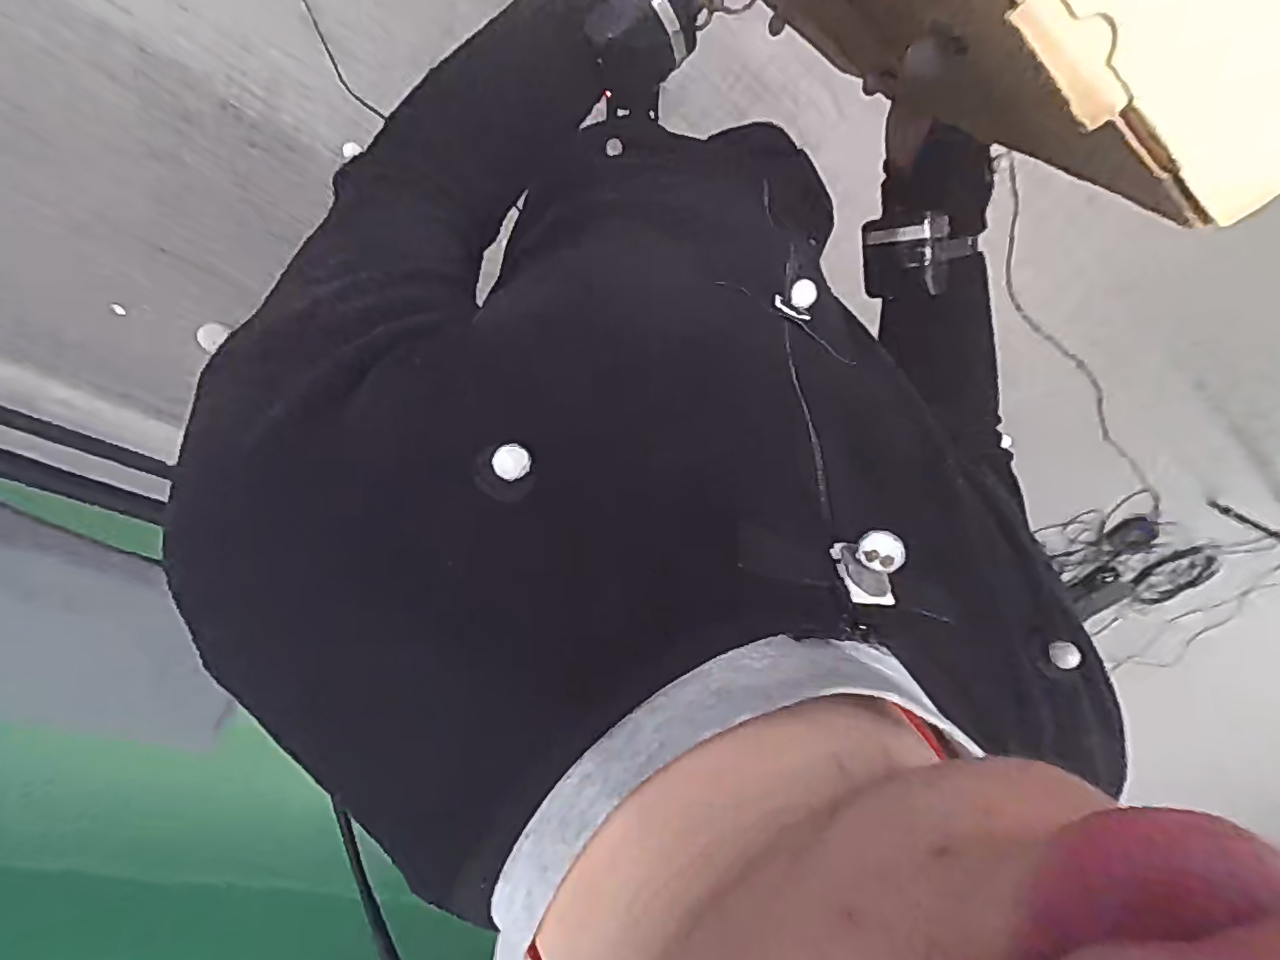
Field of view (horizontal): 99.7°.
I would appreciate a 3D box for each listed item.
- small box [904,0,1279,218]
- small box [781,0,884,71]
[{"bbox_3d":[0.169,-0.222,0.153,0.168,0.176,0.179,27,129,-22],"label":"small box"},{"bbox_3d":[0.176,-0.444,0.391,0.168,0.176,0.179,25,128,-19],"label":"small box"}]
